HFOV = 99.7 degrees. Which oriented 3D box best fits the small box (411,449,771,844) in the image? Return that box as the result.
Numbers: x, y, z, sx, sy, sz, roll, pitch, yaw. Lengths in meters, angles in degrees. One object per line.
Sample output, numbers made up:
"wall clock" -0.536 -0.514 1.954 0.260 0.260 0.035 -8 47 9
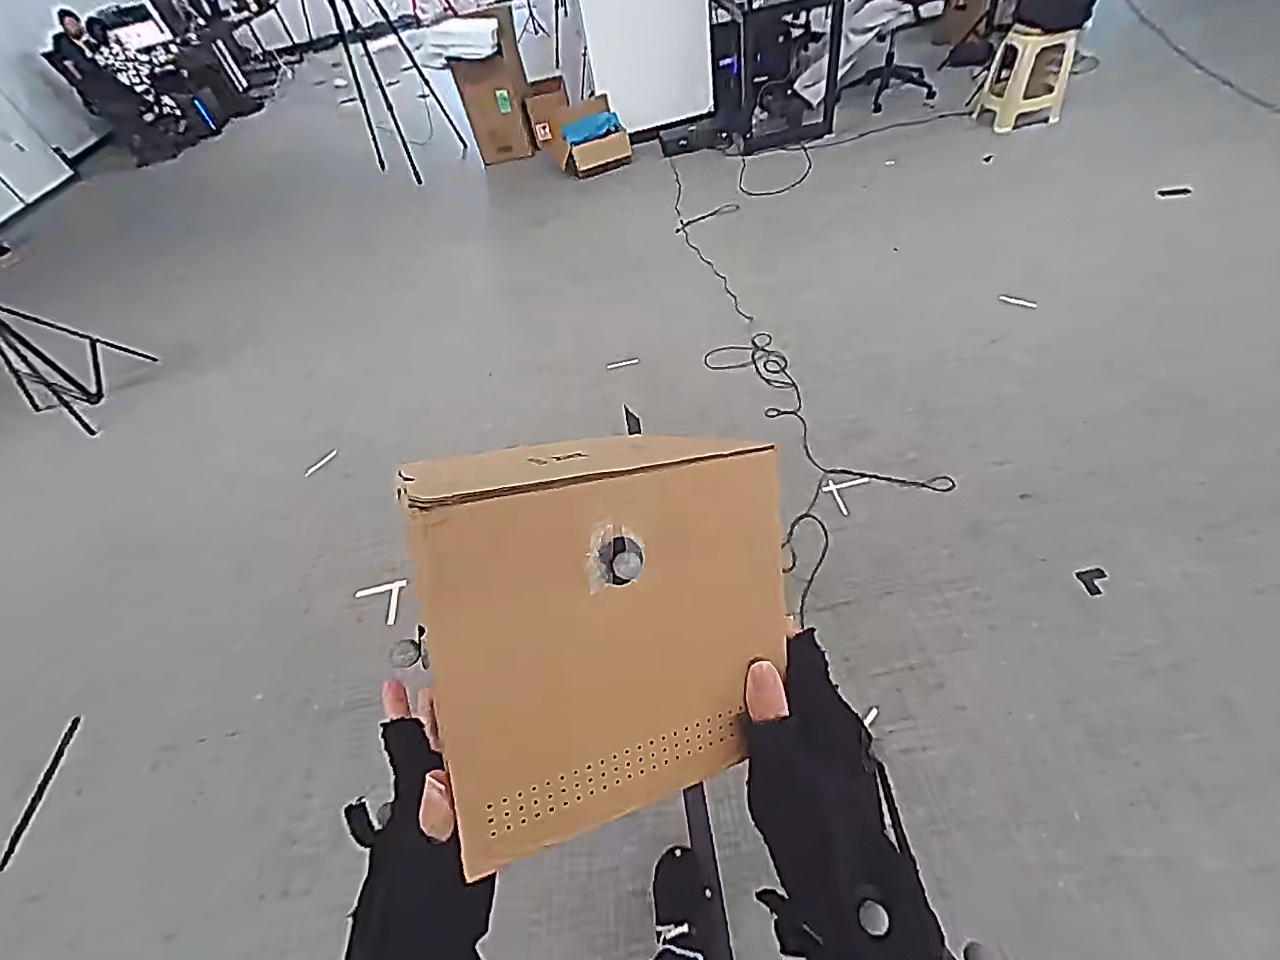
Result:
"small box" -0.036 0.076 0.339 0.179 0.176 0.168 -9 9 -24
